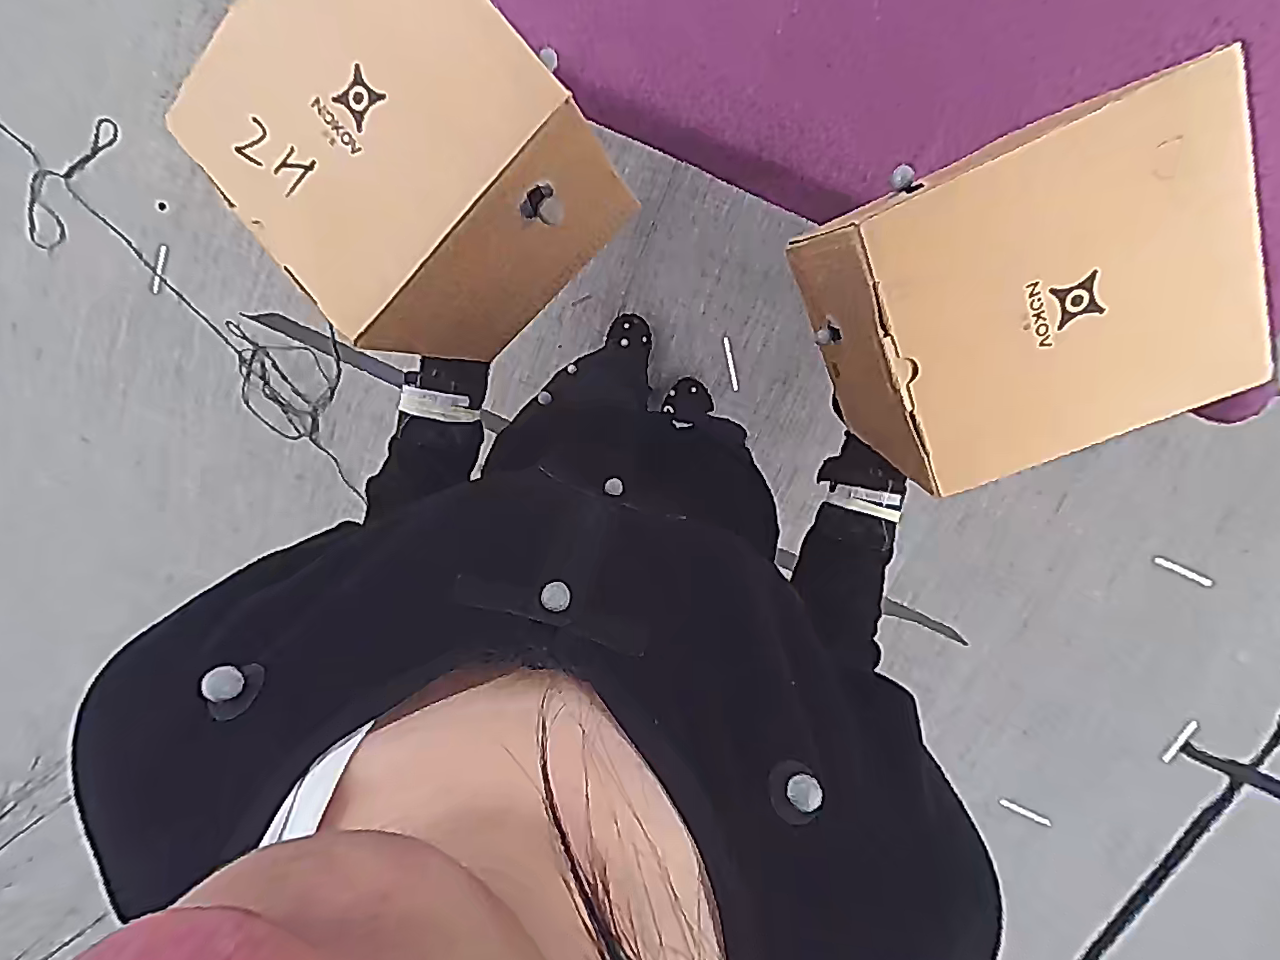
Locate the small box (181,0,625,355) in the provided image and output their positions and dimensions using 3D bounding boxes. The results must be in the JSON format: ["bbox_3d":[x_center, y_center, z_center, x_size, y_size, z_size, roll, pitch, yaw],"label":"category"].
[{"bbox_3d":[-0.127,-0.203,0.358,0.179,0.176,0.168,-40,89,15],"label":"small box"}]

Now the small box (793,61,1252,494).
[{"bbox_3d":[0.224,-0.121,0.359,0.179,0.176,0.168,-23,108,11],"label":"small box"}]
